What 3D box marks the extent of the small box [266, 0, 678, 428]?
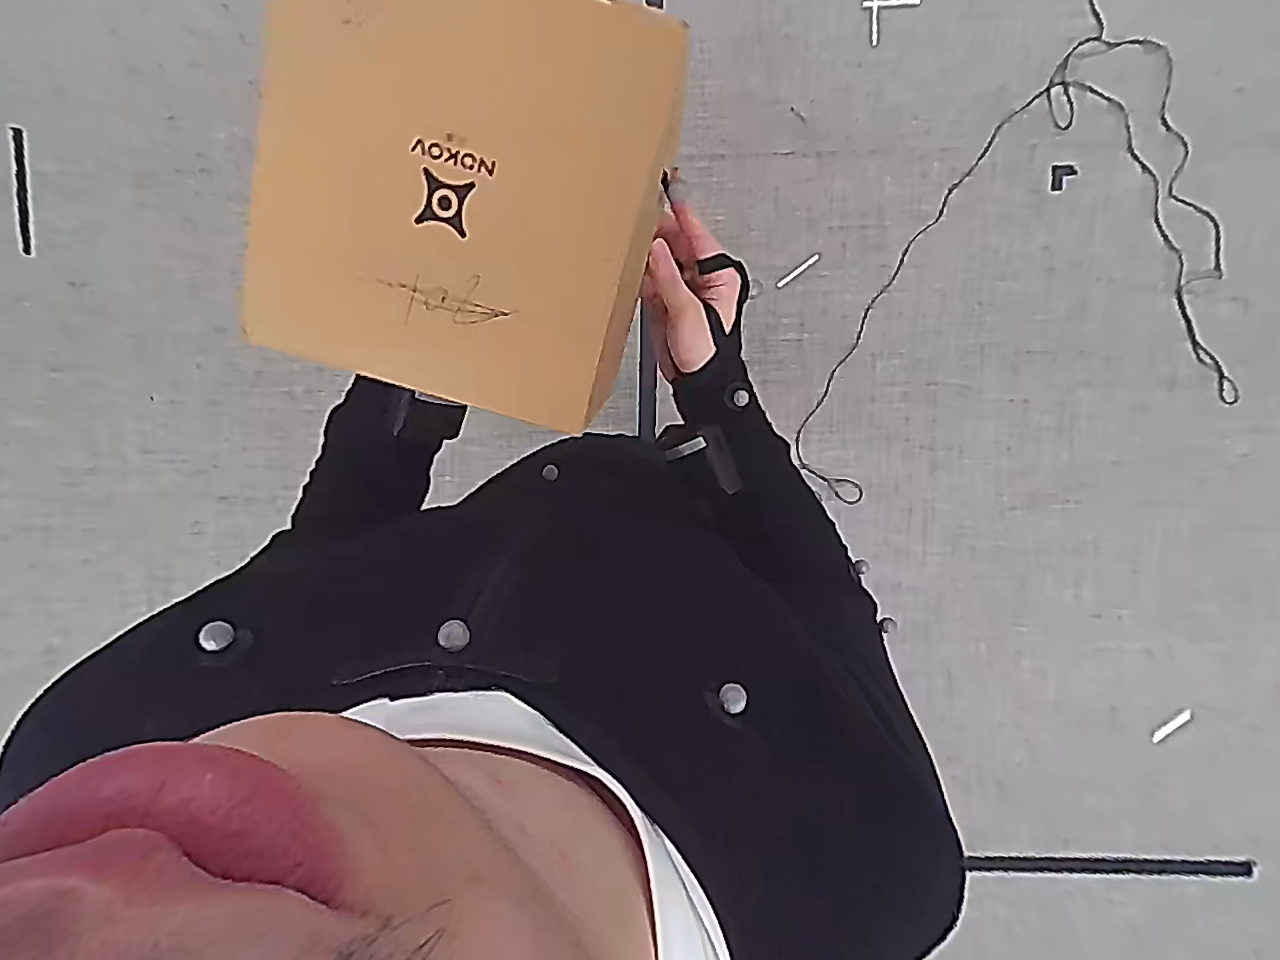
[{"bbox_3d":[-0.080,-0.147,0.322,0.168,0.176,0.179,14,106,0],"label":"small box"}]
